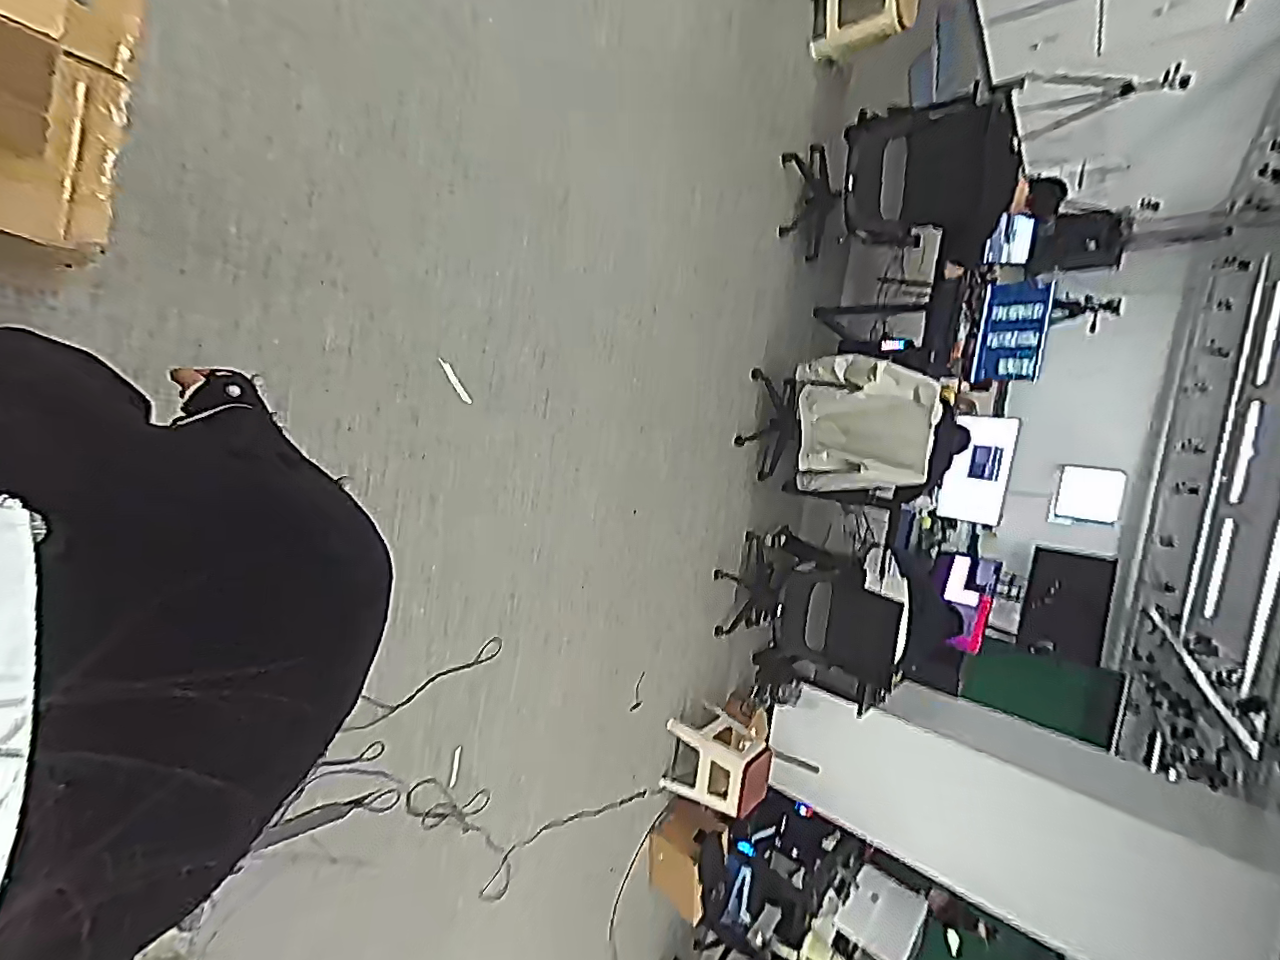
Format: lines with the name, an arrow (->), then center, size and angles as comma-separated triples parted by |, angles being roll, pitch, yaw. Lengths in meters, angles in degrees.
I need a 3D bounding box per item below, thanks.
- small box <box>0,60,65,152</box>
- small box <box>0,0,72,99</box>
small box -> -0.617, -0.426, 0.465 | 0.168, 0.176, 0.179 | 7, 94, -49
small box -> -0.495, -0.401, 0.358 | 0.168, 0.176, 0.179 | 5, 96, -49
